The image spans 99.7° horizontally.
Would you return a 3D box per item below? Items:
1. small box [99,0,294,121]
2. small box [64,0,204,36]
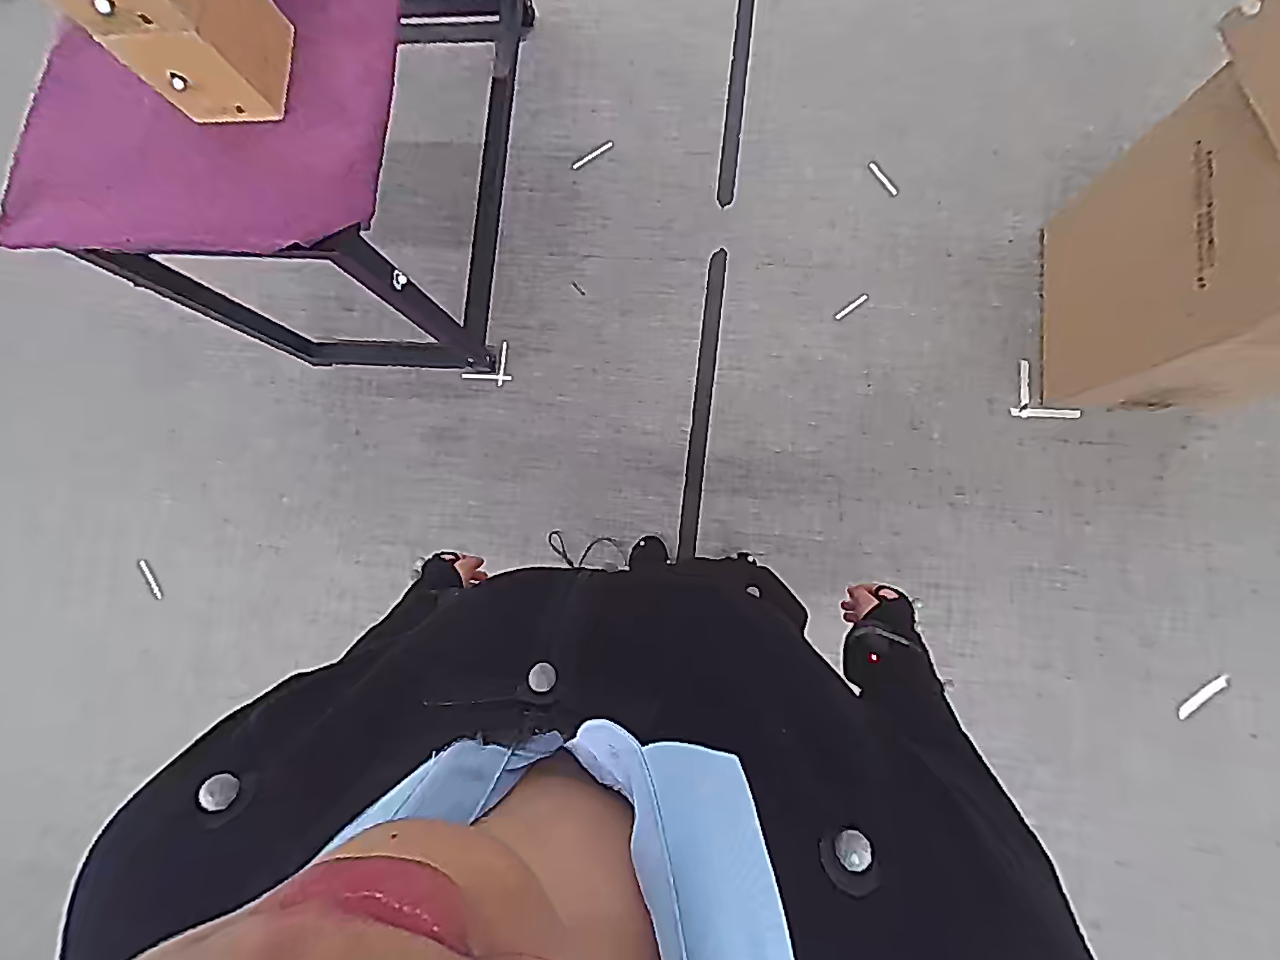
[{"bbox_3d":[-0.687,-0.705,0.857,0.168,0.176,0.179,2,83,6],"label":"small box"},{"bbox_3d":[-0.698,-0.724,0.694,0.168,0.176,0.179,2,84,6],"label":"small box"}]
